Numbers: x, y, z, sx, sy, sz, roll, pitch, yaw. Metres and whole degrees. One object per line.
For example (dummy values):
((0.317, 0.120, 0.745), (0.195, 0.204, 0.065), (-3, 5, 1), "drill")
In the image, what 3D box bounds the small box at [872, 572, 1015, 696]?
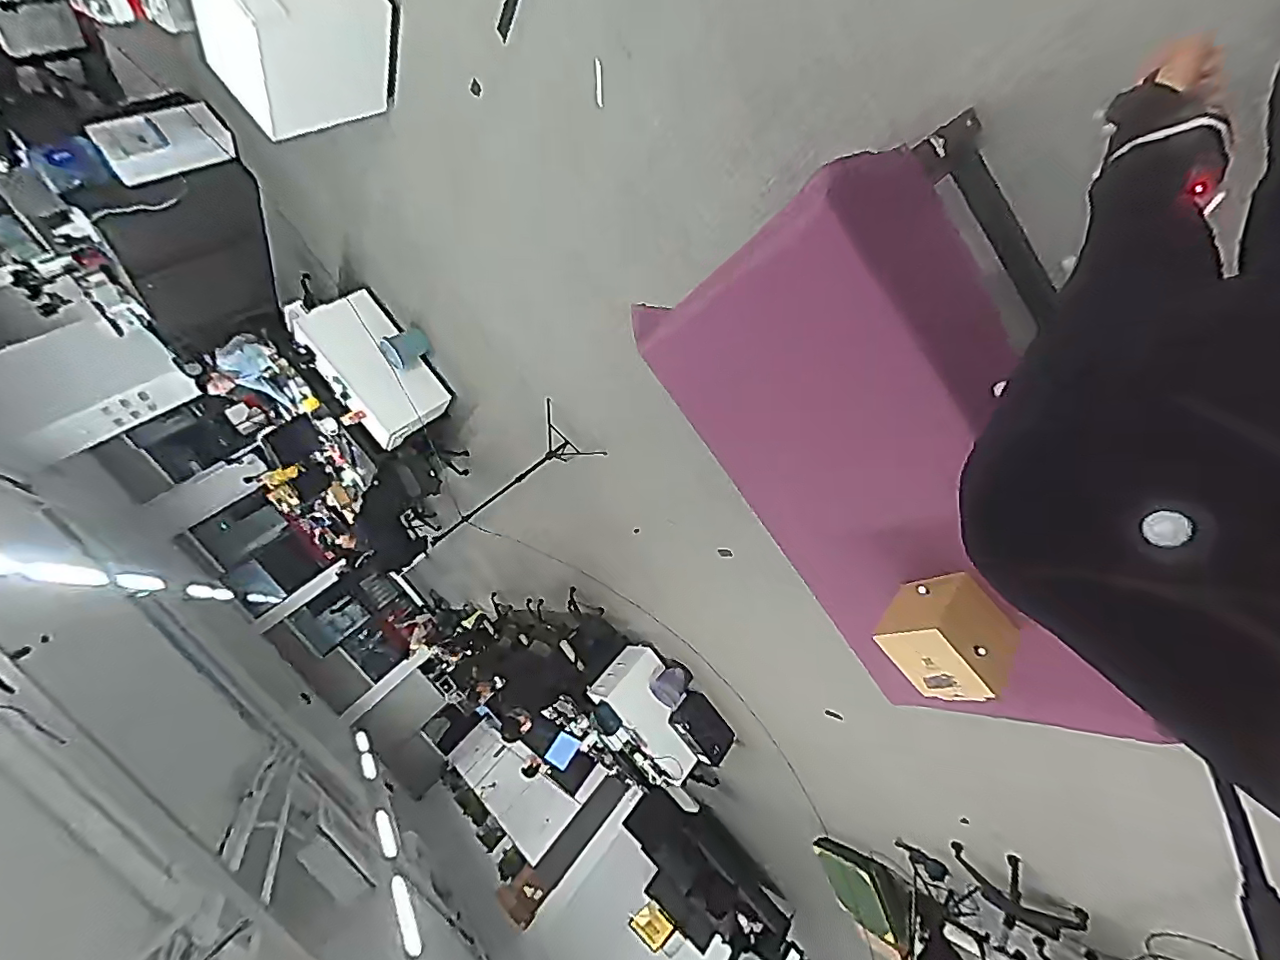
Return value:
((0.632, 0.320, 1.124), (0.179, 0.176, 0.168), (49, 149, 0), "small box")
